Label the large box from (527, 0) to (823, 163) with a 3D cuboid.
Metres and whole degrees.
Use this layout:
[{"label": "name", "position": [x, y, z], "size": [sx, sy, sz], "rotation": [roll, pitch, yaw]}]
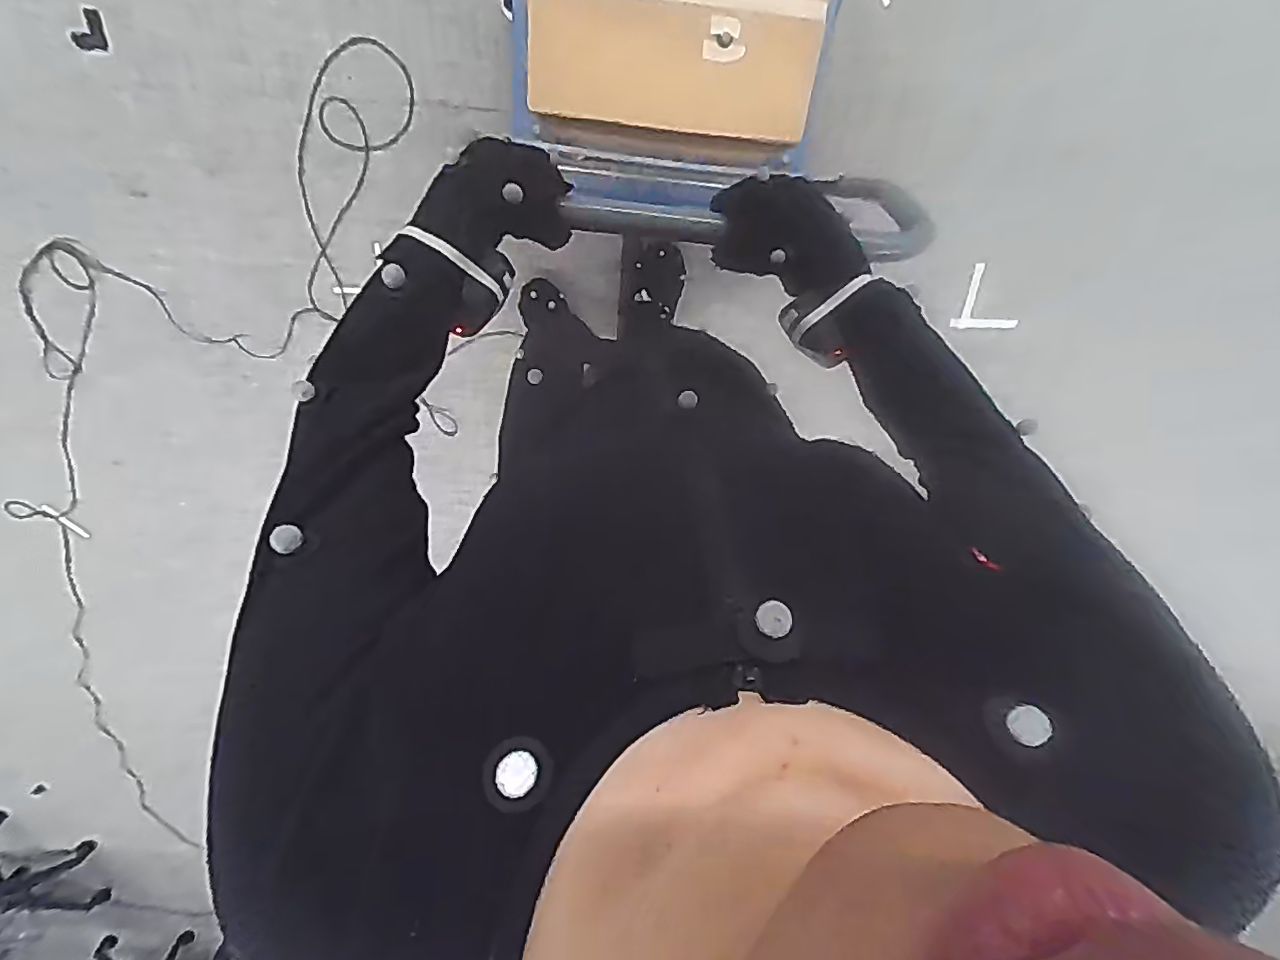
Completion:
[{"label": "large box", "position": [0.040, -0.706, 0.853], "size": [0.408, 0.320, 0.320], "rotation": [4, 117, -5]}]
